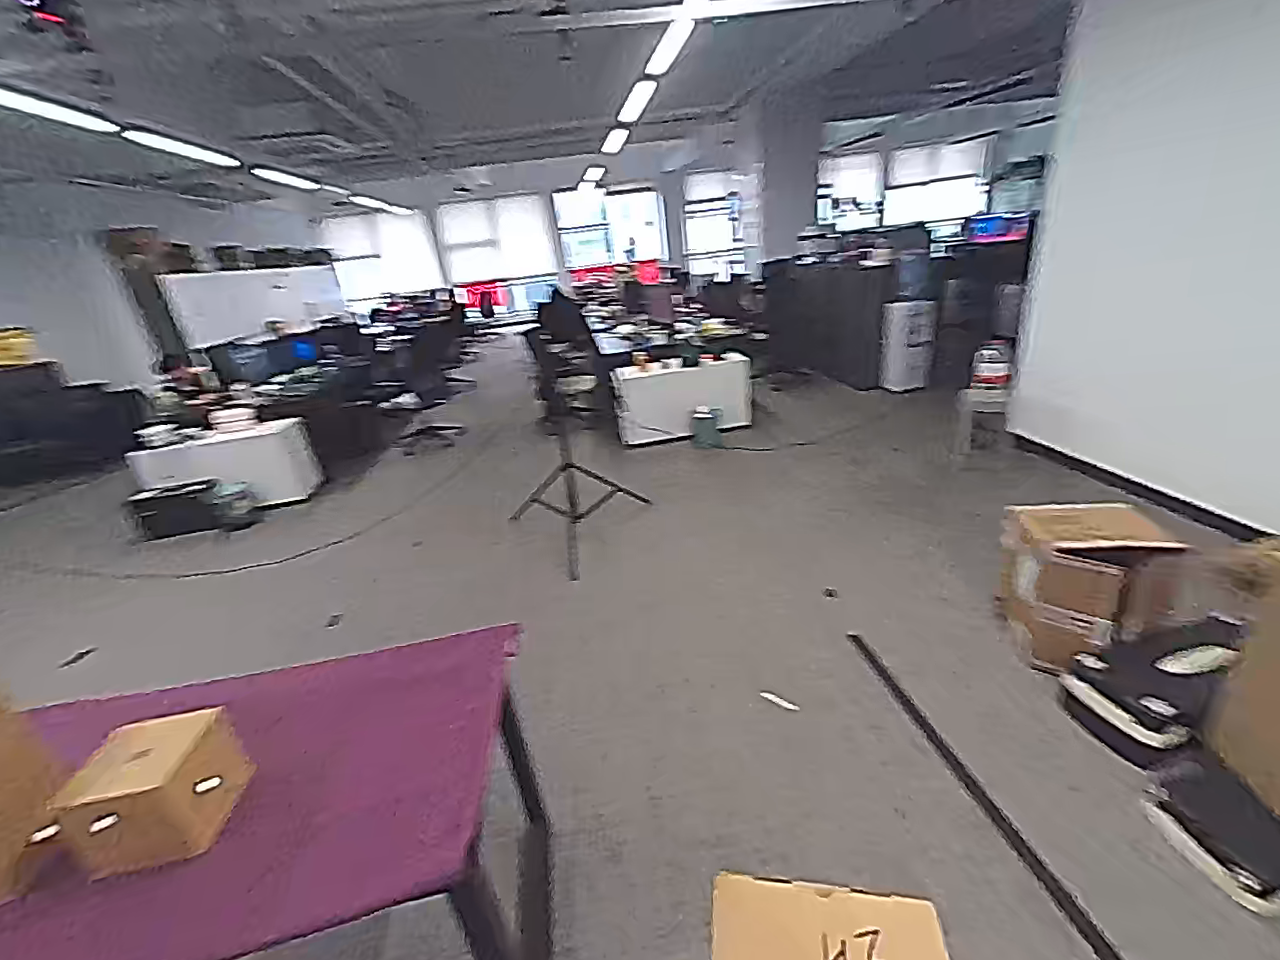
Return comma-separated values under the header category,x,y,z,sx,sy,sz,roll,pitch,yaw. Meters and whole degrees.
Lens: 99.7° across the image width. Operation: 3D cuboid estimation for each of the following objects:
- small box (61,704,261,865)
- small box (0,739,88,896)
category,x,y,z,sx,sy,sz,roll,pitch,yaw
small box,-0.821,0.534,0.954,0.179,0.176,0.168,-10,24,-4
small box,-1.100,0.583,0.922,0.179,0.176,0.168,-9,24,-5
